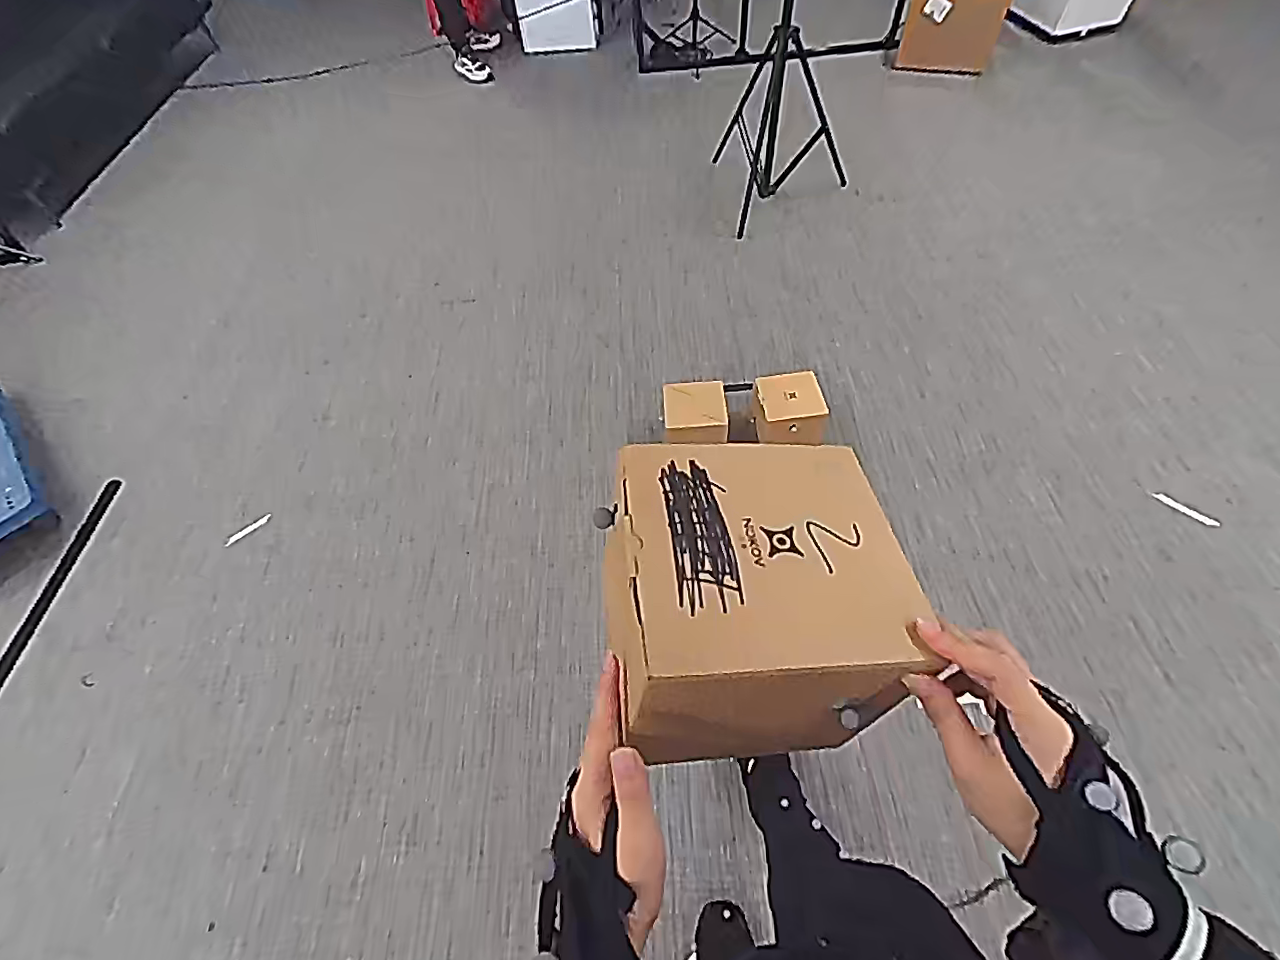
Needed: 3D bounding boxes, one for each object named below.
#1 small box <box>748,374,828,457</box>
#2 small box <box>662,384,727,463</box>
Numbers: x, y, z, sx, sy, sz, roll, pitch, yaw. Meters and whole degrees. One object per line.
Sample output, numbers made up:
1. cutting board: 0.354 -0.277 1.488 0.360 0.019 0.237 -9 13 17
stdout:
1. small box: 0.429 -0.188 1.598 0.179 0.176 0.168 -8 57 -1
2. small box: 0.160 -0.168 1.602 0.179 0.176 0.168 -3 57 2
